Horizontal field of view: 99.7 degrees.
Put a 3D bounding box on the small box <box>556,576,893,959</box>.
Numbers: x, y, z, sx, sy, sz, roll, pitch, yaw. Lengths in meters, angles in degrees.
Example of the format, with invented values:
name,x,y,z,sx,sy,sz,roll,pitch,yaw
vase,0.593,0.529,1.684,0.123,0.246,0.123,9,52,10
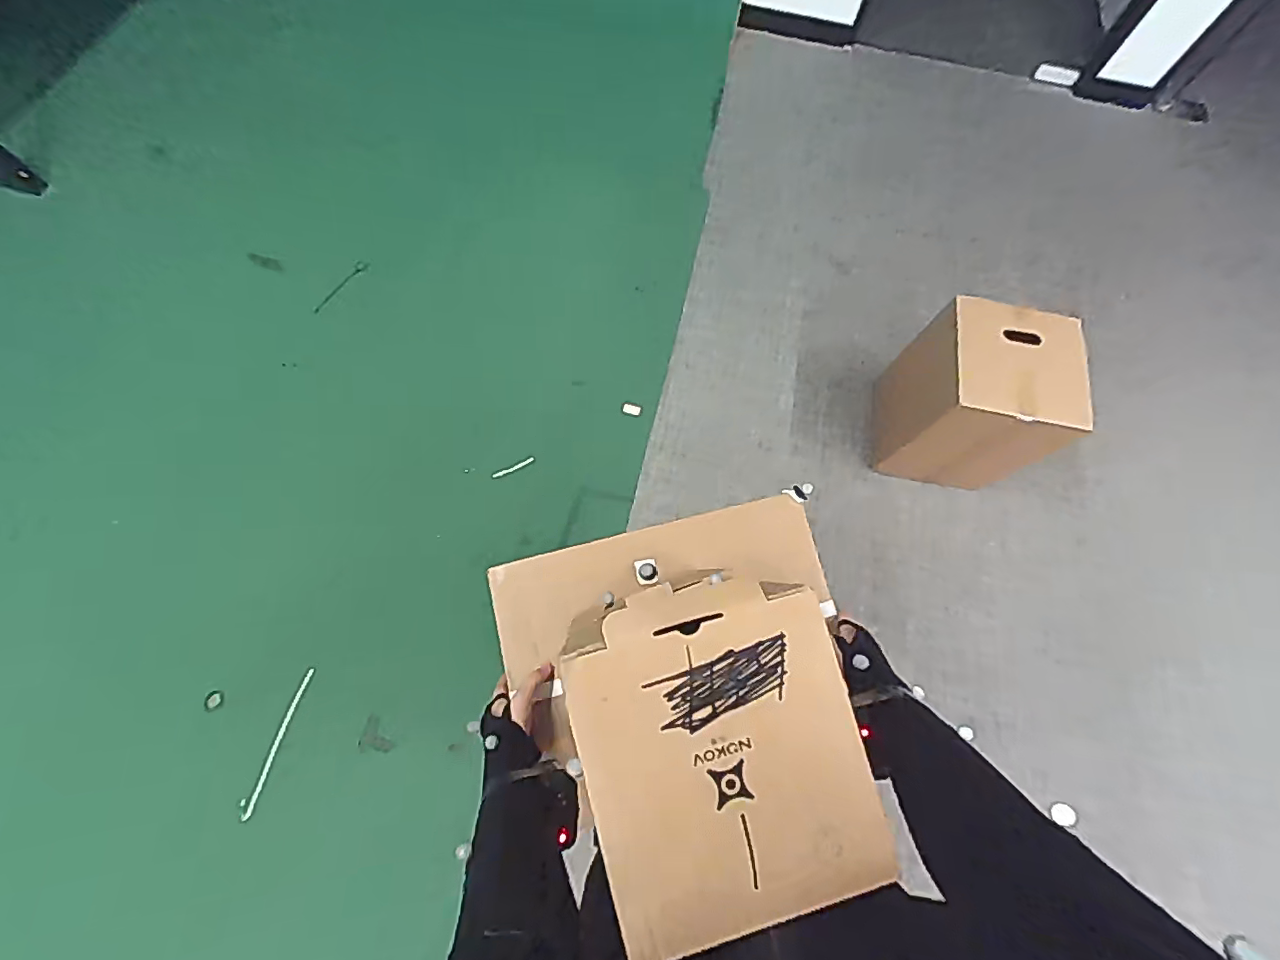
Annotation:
name,x,y,z,sx,sy,sz,roll,pitch,yaw
small box,0.041,0.173,0.391,0.168,0.176,0.179,-14,83,-5

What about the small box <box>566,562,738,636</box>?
name,x,y,z,sx,sy,sz,roll,pitch,yaw
small box,0.029,0.194,0.553,0.168,0.176,0.179,-18,82,-6
